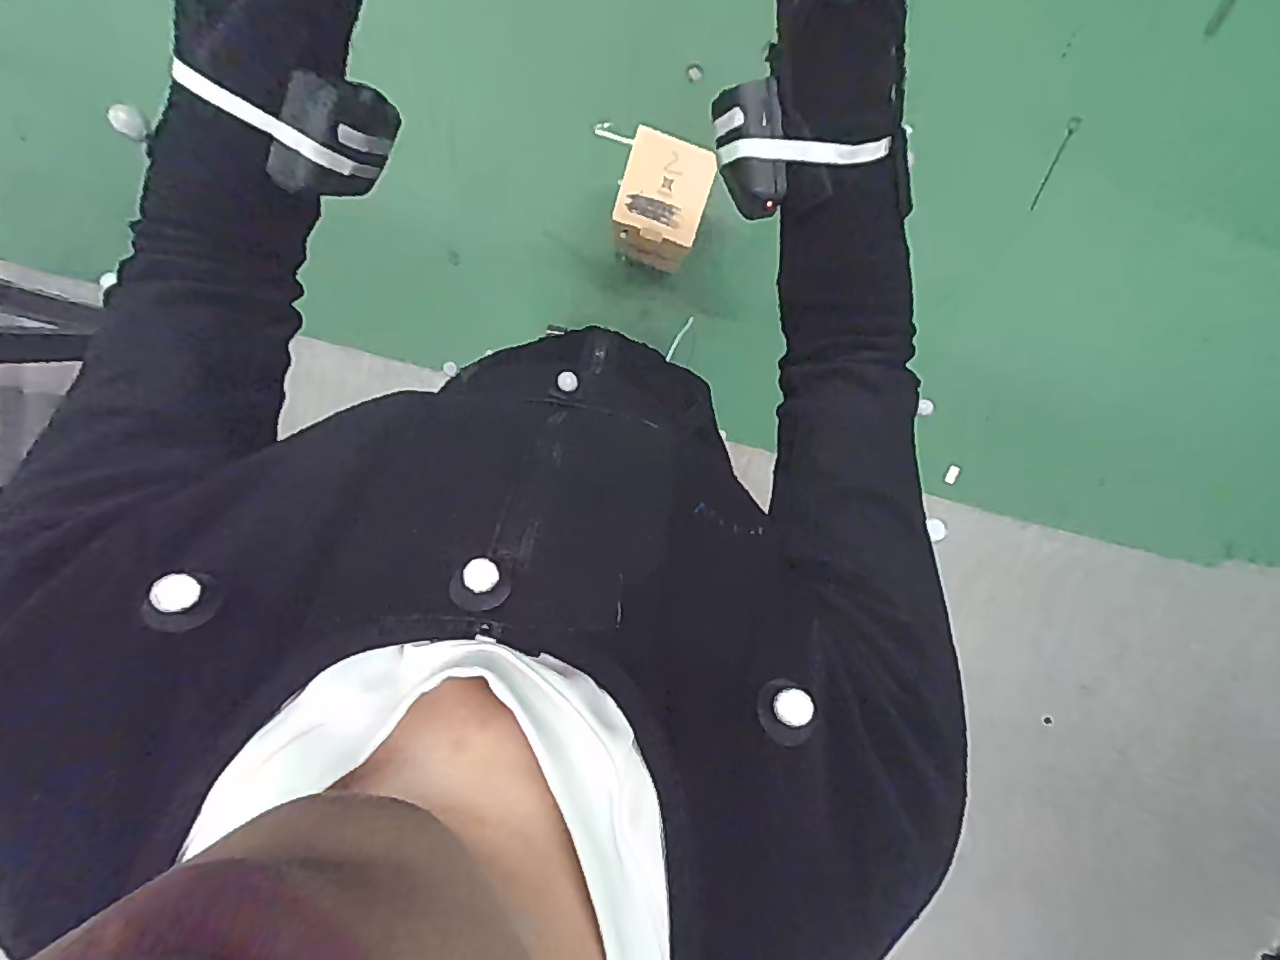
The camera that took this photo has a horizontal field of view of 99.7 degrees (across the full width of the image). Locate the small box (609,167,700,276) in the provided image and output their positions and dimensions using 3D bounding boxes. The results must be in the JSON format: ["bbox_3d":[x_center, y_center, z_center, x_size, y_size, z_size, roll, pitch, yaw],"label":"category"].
[{"bbox_3d":[0.029,-0.593,1.269,0.168,0.176,0.179,15,103,-6],"label":"small box"}]
